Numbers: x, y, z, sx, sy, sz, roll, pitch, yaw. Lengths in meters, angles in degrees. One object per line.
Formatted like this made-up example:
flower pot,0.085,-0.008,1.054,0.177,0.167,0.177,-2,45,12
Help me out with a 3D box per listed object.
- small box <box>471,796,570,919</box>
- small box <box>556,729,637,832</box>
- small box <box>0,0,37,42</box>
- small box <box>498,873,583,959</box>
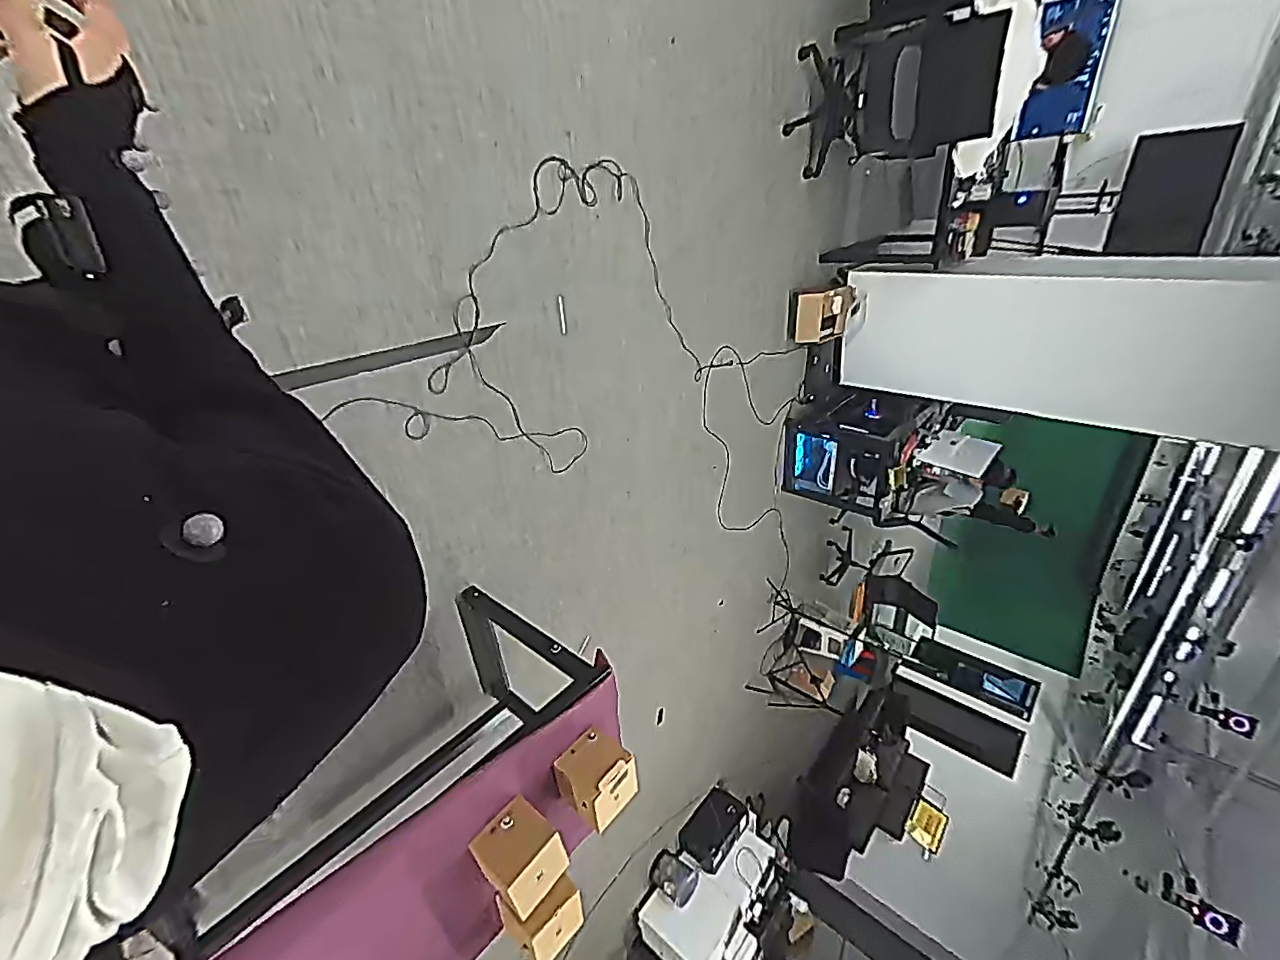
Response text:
small box,-0.311,0.974,1.410,0.168,0.176,0.179,-36,131,-38
small box,-0.128,0.867,1.584,0.168,0.176,0.179,-32,130,-39
small box,-0.567,-0.441,0.378,0.179,0.176,0.168,1,102,-61
small box,-0.283,1.221,1.544,0.168,0.176,0.179,-28,125,-41
